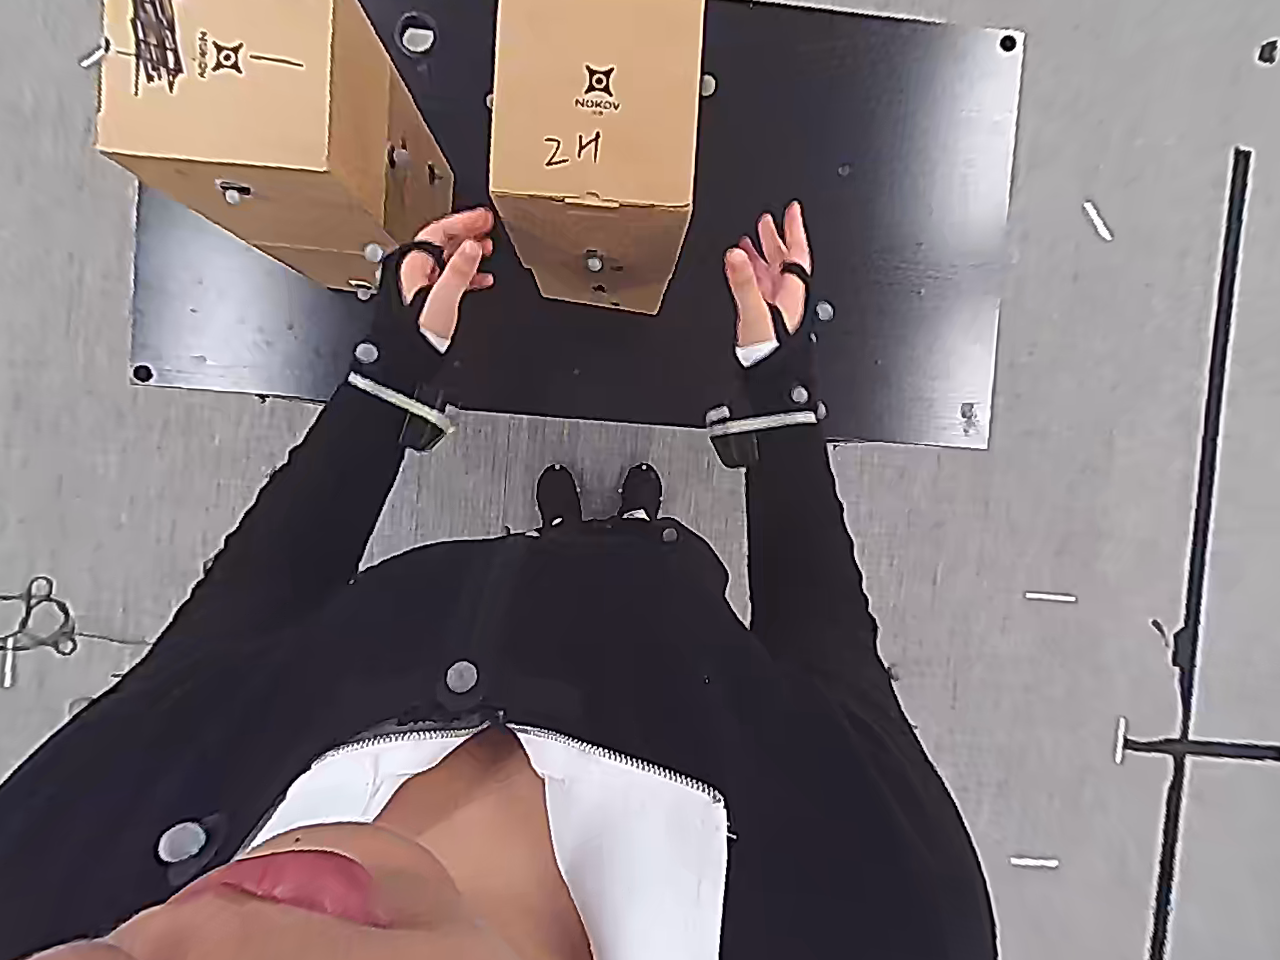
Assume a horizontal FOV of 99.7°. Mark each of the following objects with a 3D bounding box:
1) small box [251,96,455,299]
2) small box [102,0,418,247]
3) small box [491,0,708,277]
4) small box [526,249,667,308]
[{"bbox_3d":[-0.336,-0.340,0.663,0.168,0.176,0.179,4,93,-2],"label":"small box"},{"bbox_3d":[-0.327,-0.332,0.499,0.179,0.176,0.168,3,92,-3],"label":"small box"},{"bbox_3d":[-0.036,-0.316,0.514,0.168,0.176,0.179,4,91,-3],"label":"small box"},{"bbox_3d":[-0.038,-0.330,0.680,0.168,0.176,0.179,8,92,-3],"label":"small box"}]
